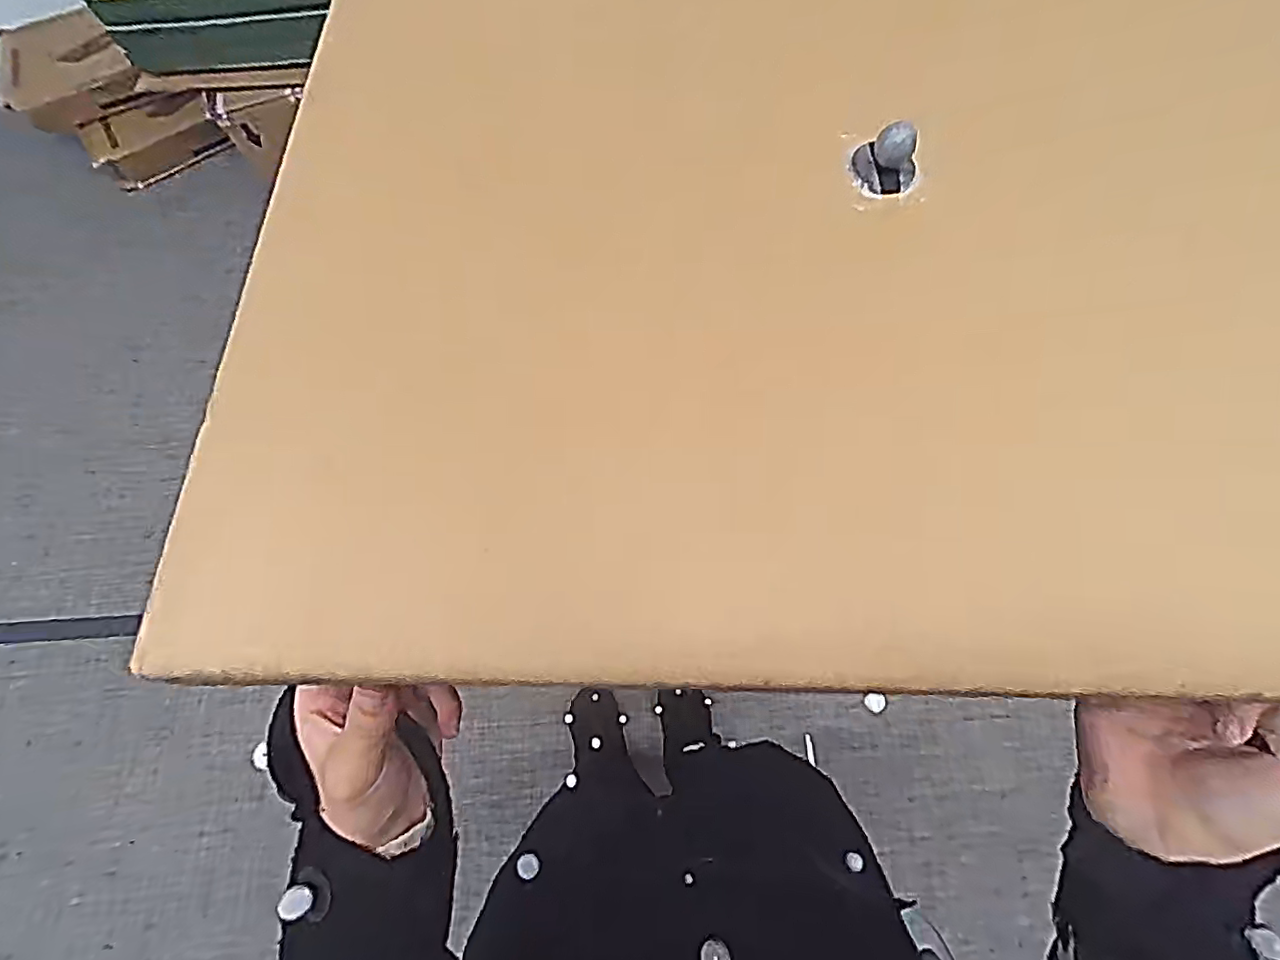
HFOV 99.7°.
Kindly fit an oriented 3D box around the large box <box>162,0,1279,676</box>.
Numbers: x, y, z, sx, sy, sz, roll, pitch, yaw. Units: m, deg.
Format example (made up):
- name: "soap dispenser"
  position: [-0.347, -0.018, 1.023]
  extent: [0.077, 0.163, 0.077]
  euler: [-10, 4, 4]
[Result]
- name: "large box"
  position: [0.072, -0.055, 0.323]
  extent: [0.408, 0.320, 0.320]
  euler: [1, 73, -1]
